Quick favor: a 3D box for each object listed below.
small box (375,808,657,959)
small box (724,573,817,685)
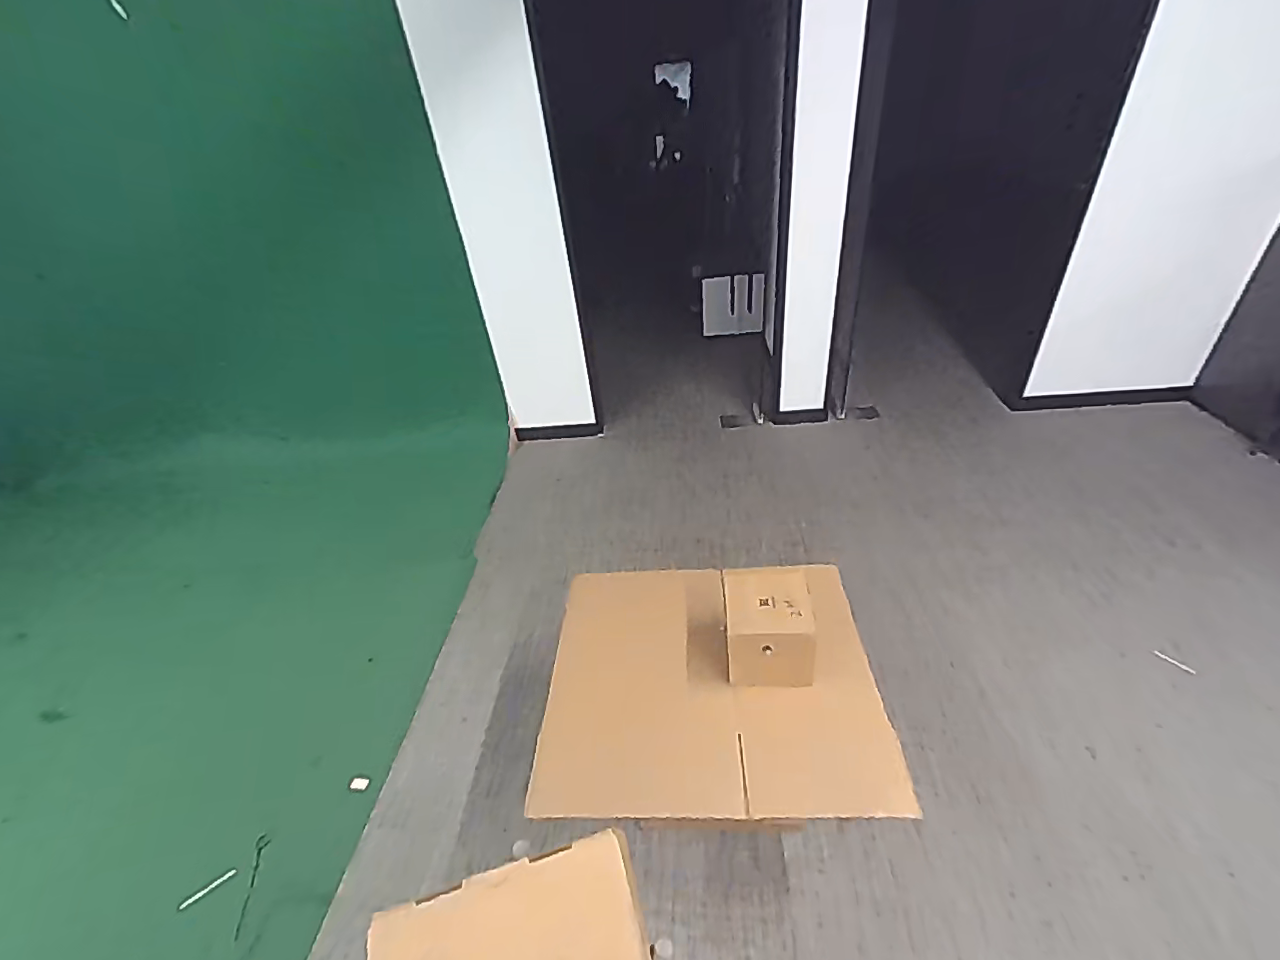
[{"bbox_3d":[-0.072,0.363,0.387,0.168,0.176,0.179,-15,57,-9],"label":"small box"},{"bbox_3d":[0.274,0.318,1.154,0.179,0.176,0.168,-3,36,9],"label":"small box"}]
